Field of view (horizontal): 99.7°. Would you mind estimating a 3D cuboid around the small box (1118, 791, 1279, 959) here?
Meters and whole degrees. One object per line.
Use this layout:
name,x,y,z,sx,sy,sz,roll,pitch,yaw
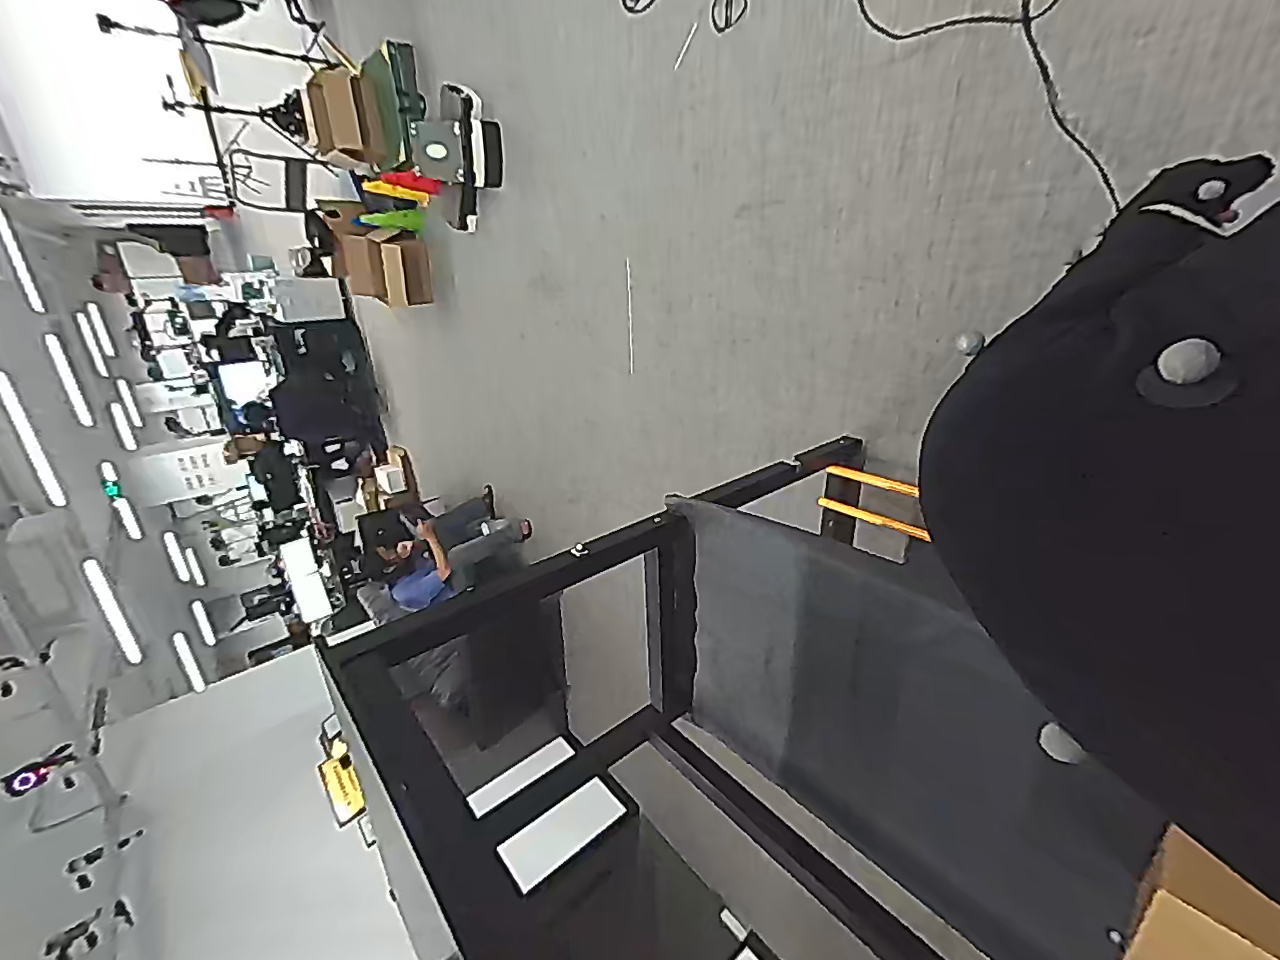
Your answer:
small box,0.645,0.480,0.570,0.168,0.176,0.179,21,123,46
